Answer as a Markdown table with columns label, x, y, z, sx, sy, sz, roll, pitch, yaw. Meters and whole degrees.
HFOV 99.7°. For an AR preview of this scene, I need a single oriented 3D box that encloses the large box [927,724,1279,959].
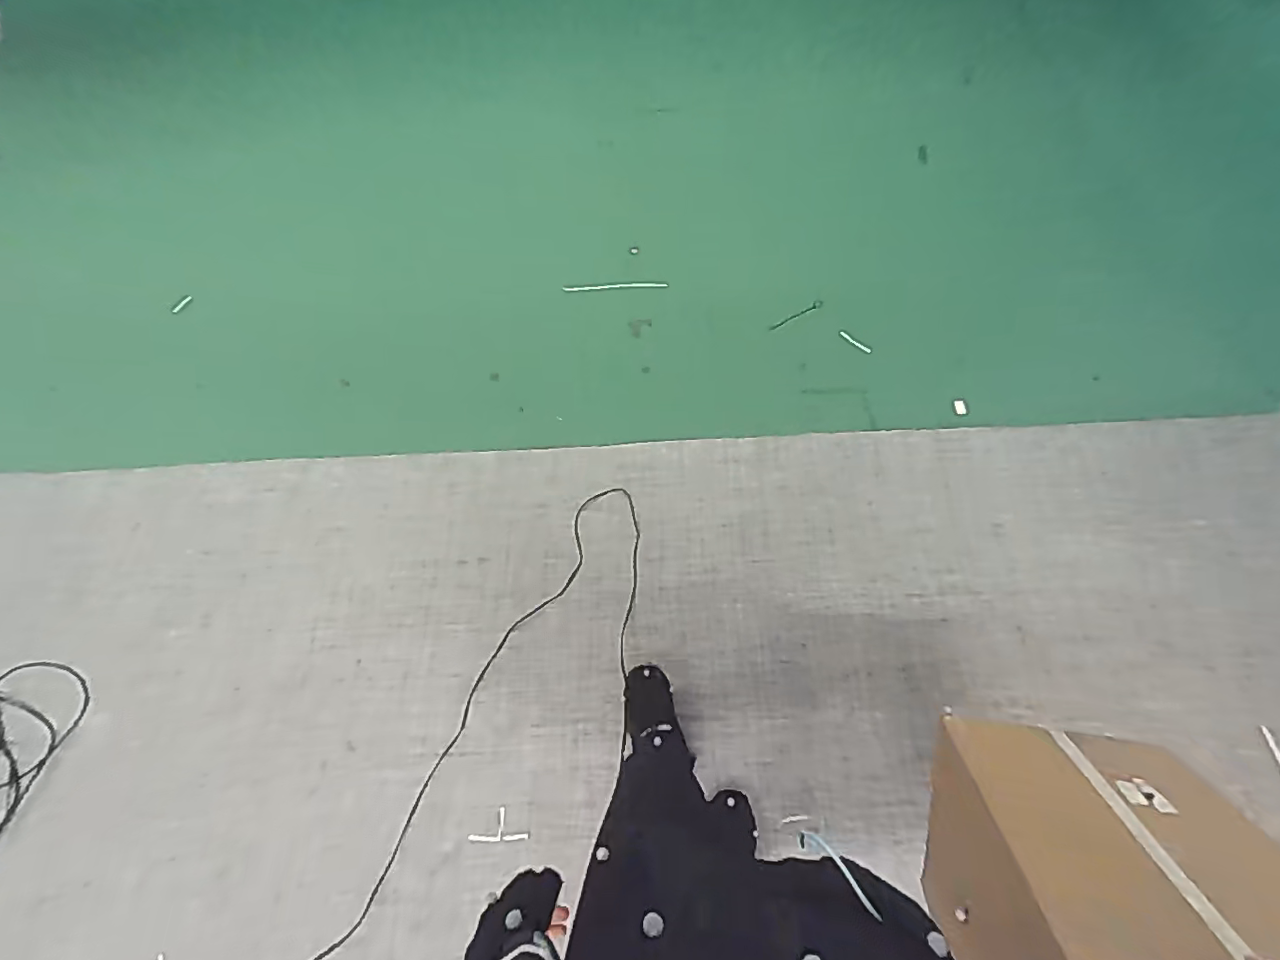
| label | x | y | z | sx | sy | sz | roll | pitch | yaw |
| --- | --- | --- | --- | --- | --- | --- | --- | --- | --- |
| large box | 0.584 | 0.574 | 0.665 | 0.320 | 0.408 | 0.320 | 4 | 99 | 13 |
